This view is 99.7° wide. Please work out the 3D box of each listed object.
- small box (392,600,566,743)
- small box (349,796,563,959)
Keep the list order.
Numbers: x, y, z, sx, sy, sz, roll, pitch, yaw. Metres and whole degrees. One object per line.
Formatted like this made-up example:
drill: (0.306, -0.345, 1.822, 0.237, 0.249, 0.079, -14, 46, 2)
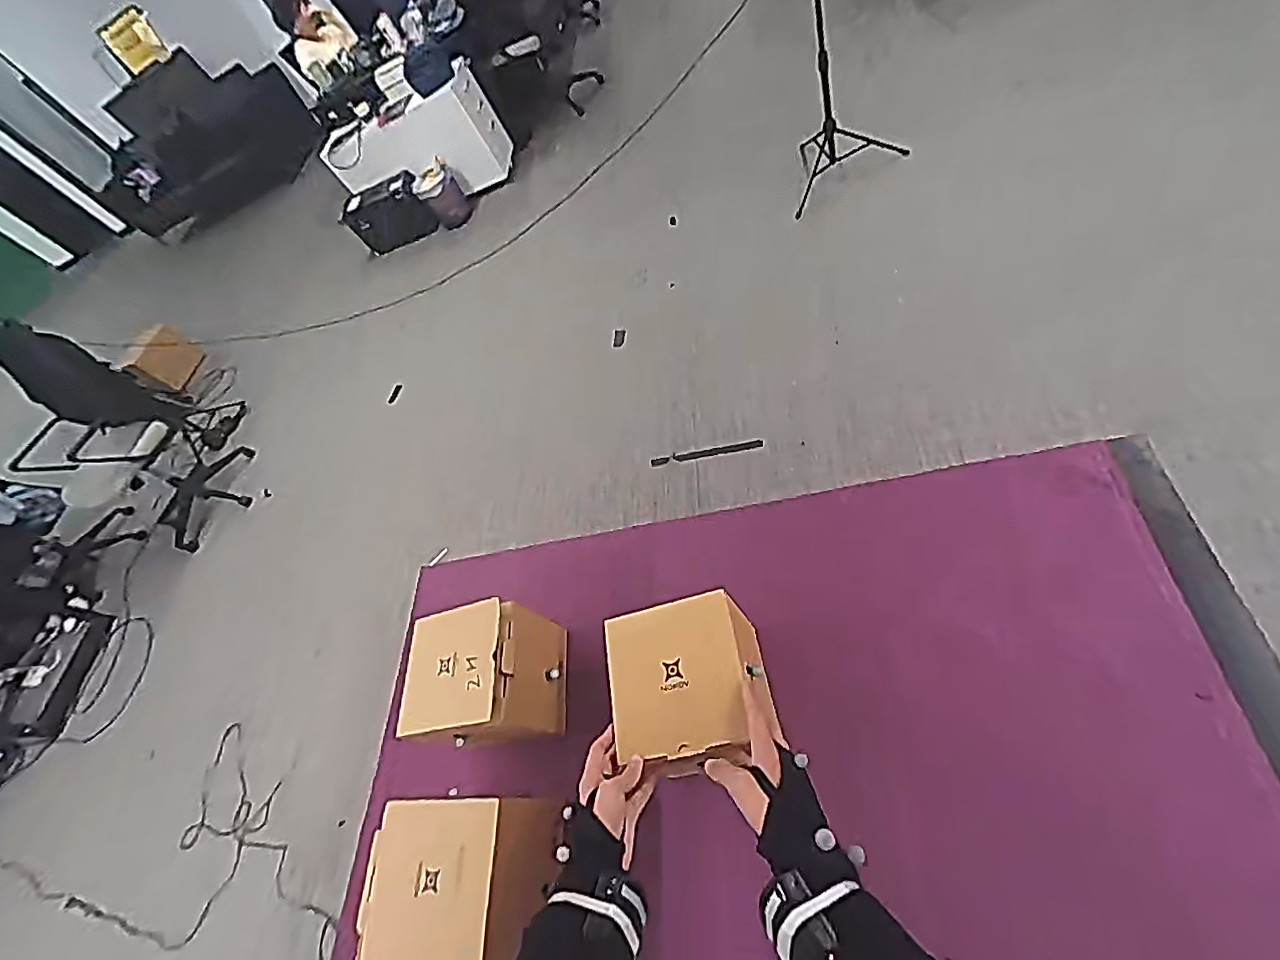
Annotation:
small box: (-0.232, 0.298, 0.820, 0.179, 0.176, 0.168, -13, 57, 17)
small box: (-0.220, 0.501, 0.690, 0.179, 0.176, 0.168, -12, 57, 18)
